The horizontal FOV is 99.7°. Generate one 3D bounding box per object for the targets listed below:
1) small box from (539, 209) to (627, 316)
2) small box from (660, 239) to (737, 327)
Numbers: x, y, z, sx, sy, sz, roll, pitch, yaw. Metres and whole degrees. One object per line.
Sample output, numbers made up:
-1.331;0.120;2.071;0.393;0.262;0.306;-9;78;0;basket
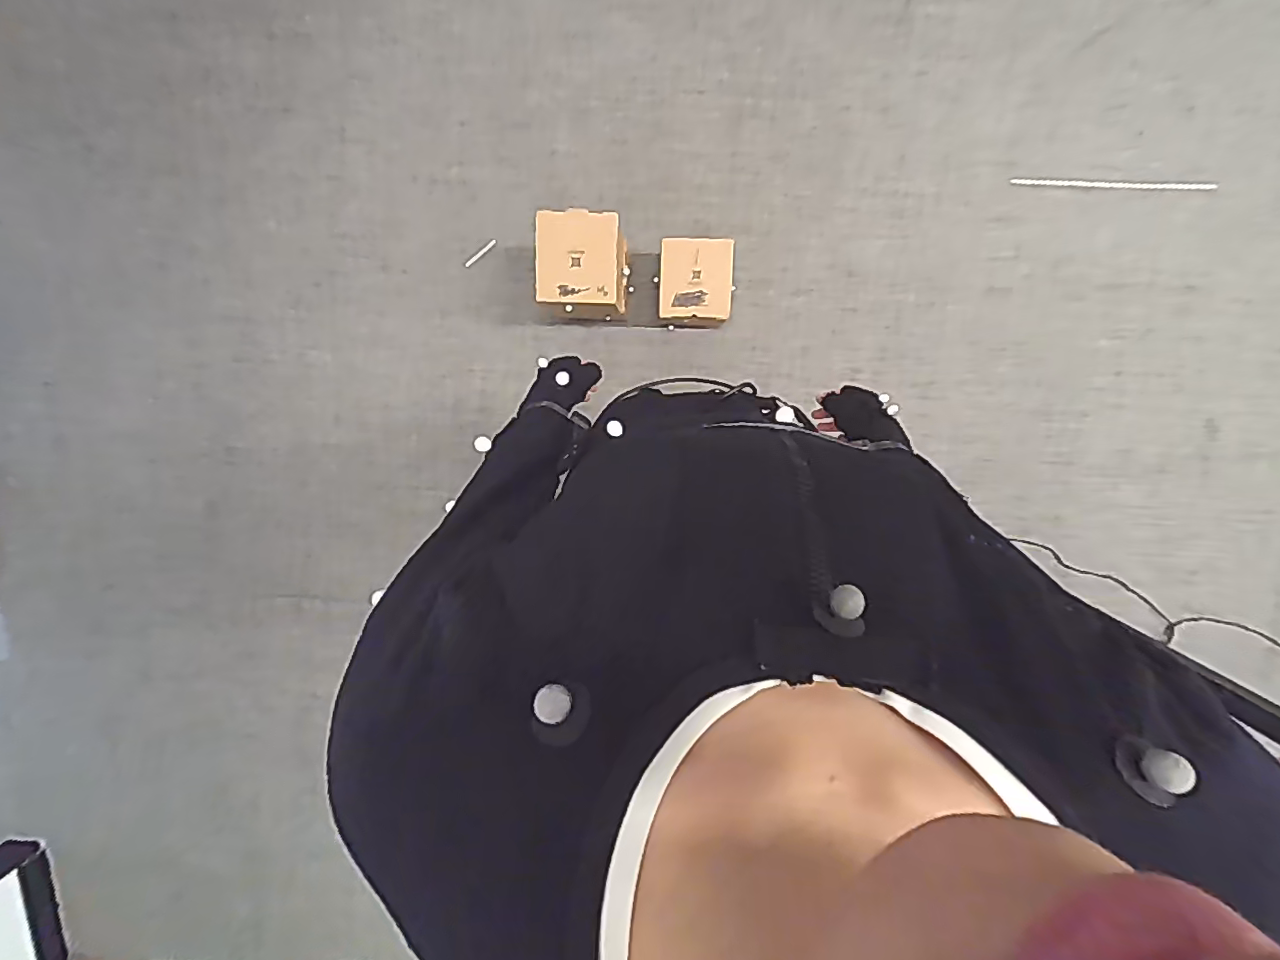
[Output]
-0.116;-0.457;1.156;0.168;0.176;0.179;3;99;2;small box
0.136;-0.469;1.307;0.168;0.176;0.179;2;99;2;small box
